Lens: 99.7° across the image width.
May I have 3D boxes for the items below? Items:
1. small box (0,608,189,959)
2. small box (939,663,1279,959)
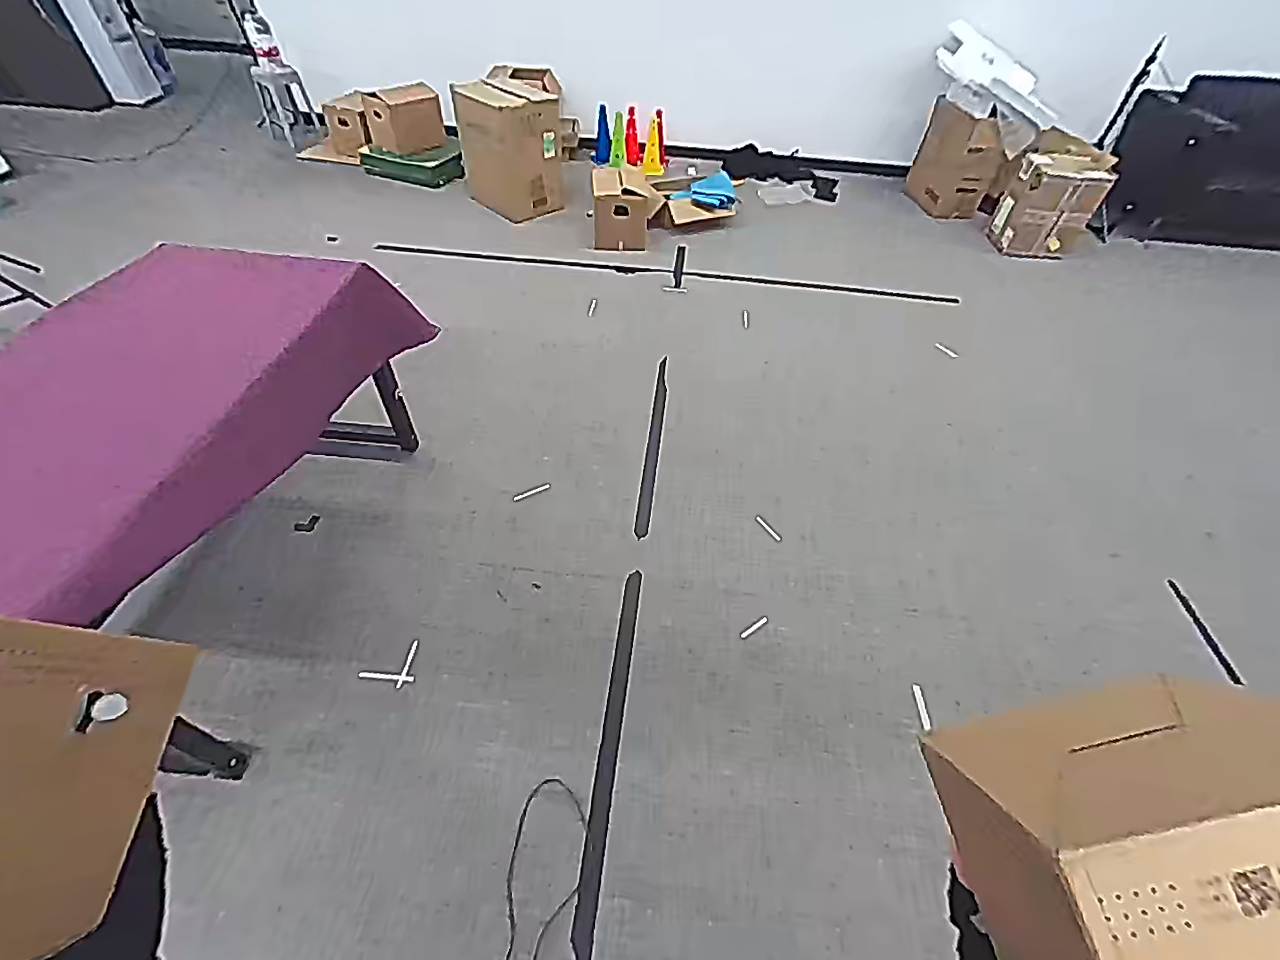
[{"bbox_3d":[-0.381,0.146,0.263,0.168,0.179,0.176,8,67,-8],"label":"small box"},{"bbox_3d":[0.277,0.201,0.259,0.168,0.179,0.176,-17,78,7],"label":"small box"}]
